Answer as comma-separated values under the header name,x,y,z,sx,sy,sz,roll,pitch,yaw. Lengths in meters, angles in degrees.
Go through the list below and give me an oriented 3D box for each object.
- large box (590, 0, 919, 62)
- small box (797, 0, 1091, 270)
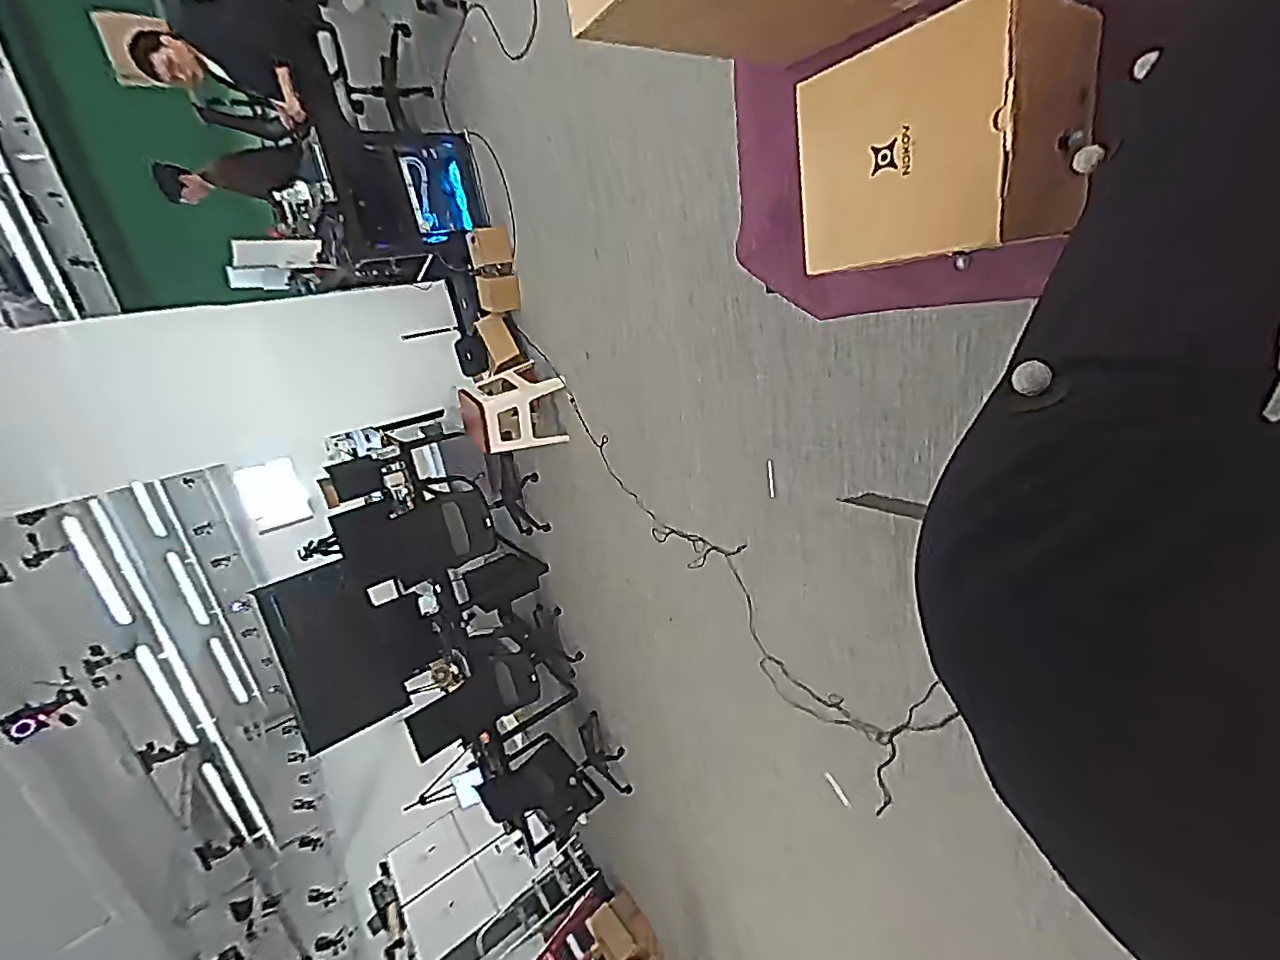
name,x,y,z,sx,sy,sz,roll,pitch,yaw
large box,0.129,-0.604,0.387,0.320,0.320,0.408,15,123,51
small box,0.271,-0.296,0.497,0.179,0.176,0.168,14,119,52
